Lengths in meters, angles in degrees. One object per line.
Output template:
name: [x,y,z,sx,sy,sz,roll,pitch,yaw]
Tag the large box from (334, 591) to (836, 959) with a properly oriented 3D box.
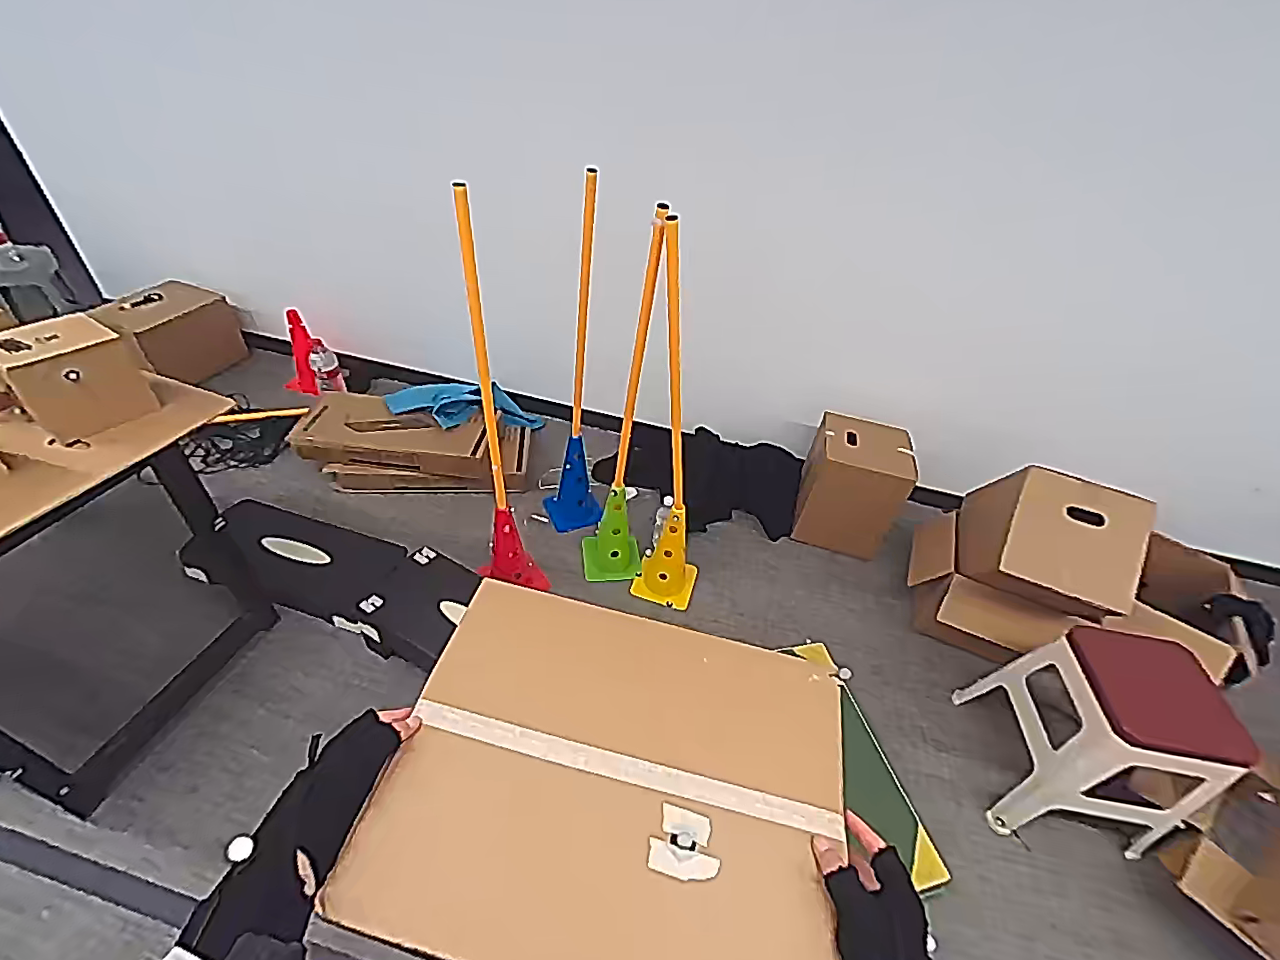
large box: [-0.033,0.377,0.613,0.408,0.320,0.320,13,46,5]
